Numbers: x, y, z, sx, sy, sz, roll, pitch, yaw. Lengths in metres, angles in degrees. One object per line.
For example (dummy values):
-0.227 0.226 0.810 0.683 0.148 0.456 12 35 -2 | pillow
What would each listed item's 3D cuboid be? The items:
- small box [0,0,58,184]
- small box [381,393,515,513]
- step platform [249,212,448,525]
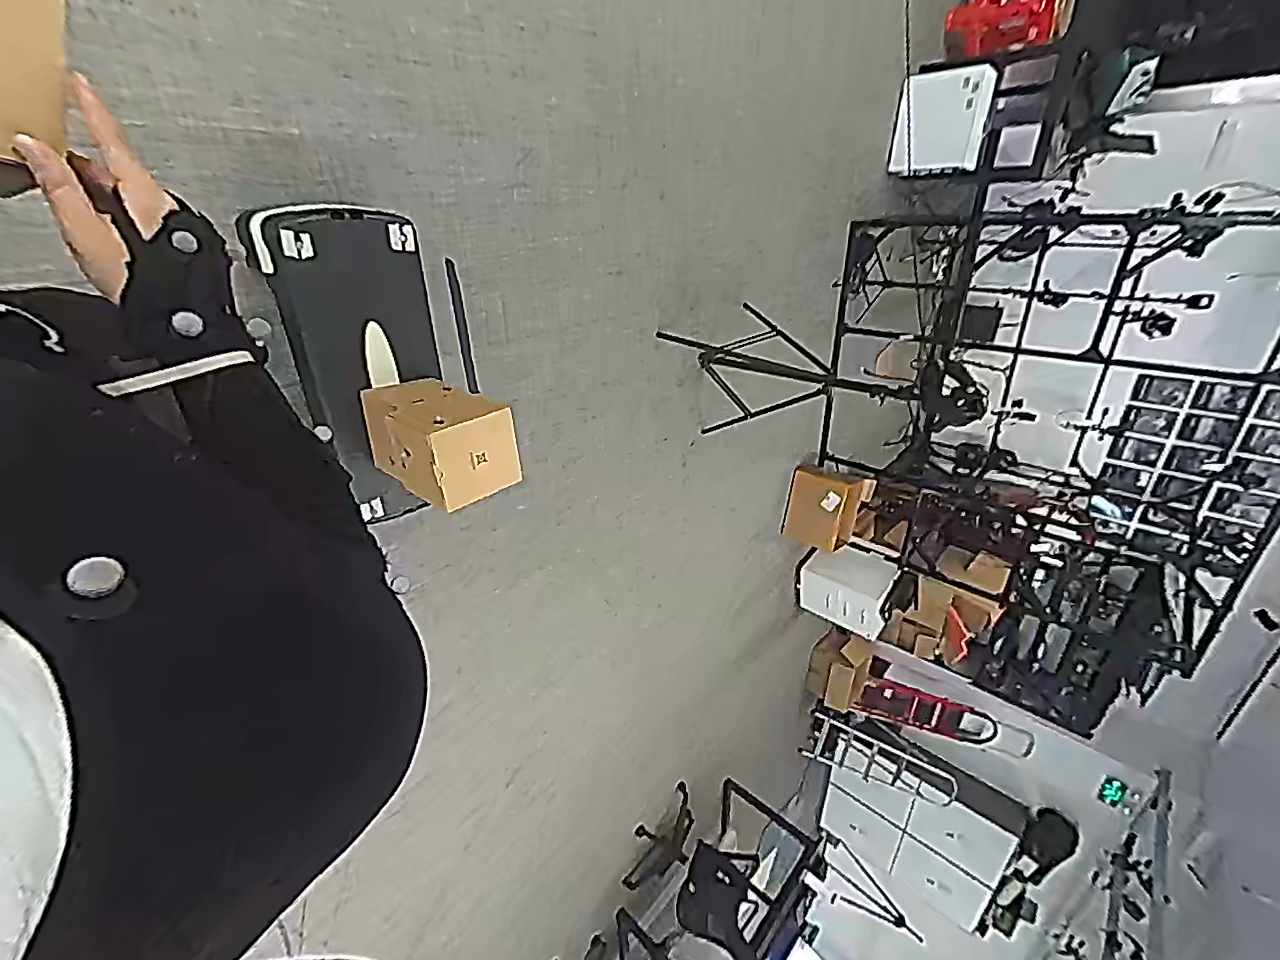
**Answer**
-0.449 -0.283 0.286 0.168 0.176 0.179 -4 105 -57 | small box
-0.378 -0.064 1.075 0.179 0.176 0.168 -29 128 -40 | small box
-0.621 -0.239 1.250 0.286 0.204 0.684 -27 126 -42 | step platform
